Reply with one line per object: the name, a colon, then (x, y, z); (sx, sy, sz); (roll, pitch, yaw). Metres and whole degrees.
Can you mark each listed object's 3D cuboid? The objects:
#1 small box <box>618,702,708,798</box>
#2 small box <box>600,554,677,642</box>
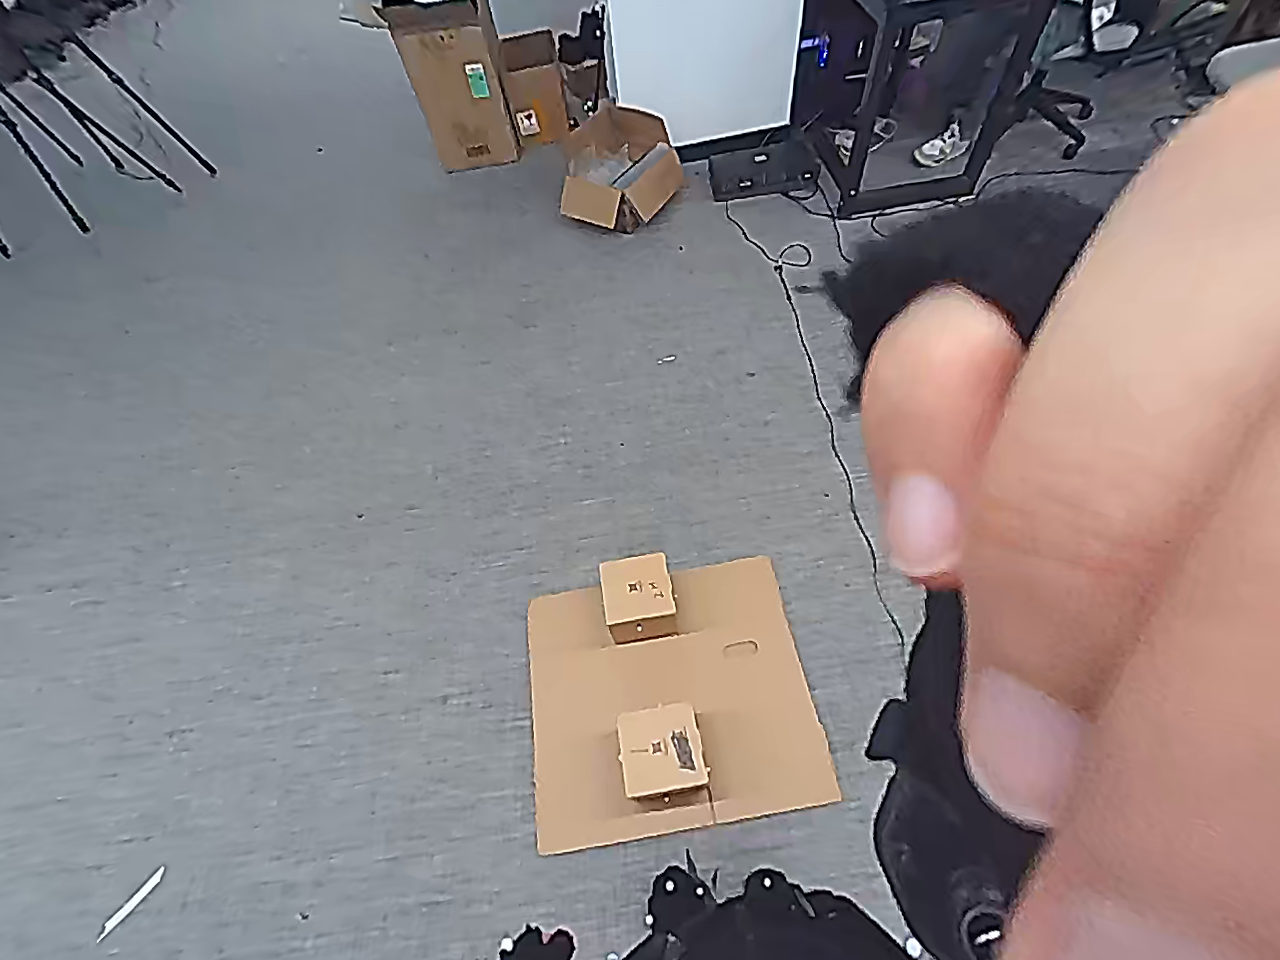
small box: (0.052, 0.618, 1.232); (0.179, 0.176, 0.168); (-11, 57, 0)
small box: (-0.001, 0.316, 1.426); (0.179, 0.176, 0.168); (-9, 58, -1)
